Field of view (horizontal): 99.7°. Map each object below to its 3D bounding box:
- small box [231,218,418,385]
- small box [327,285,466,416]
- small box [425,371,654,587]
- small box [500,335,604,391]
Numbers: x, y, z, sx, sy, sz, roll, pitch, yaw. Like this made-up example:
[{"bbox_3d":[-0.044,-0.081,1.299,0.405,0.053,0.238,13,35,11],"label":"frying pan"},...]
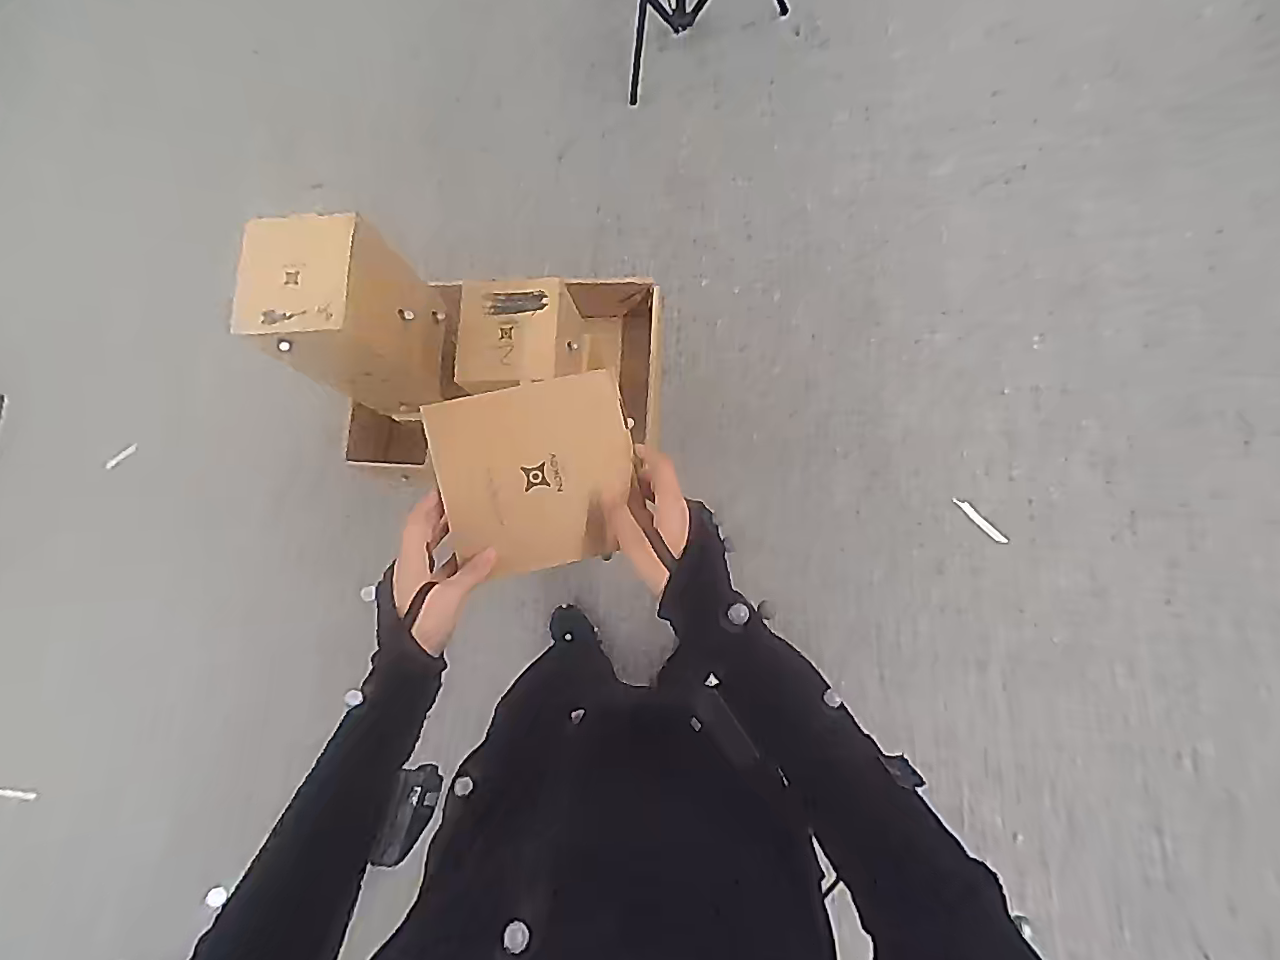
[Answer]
[{"bbox_3d":[-0.452,-0.256,0.805,0.168,0.176,0.179,-1,78,7],"label":"small box"},{"bbox_3d":[-0.424,-0.223,0.964,0.168,0.176,0.179,-1,79,7],"label":"small box"},{"bbox_3d":[-0.097,-0.001,0.559,0.179,0.176,0.168,-13,89,-7],"label":"small box"},{"bbox_3d":[-0.170,-0.175,1.092,0.168,0.176,0.179,4,80,9],"label":"small box"}]
